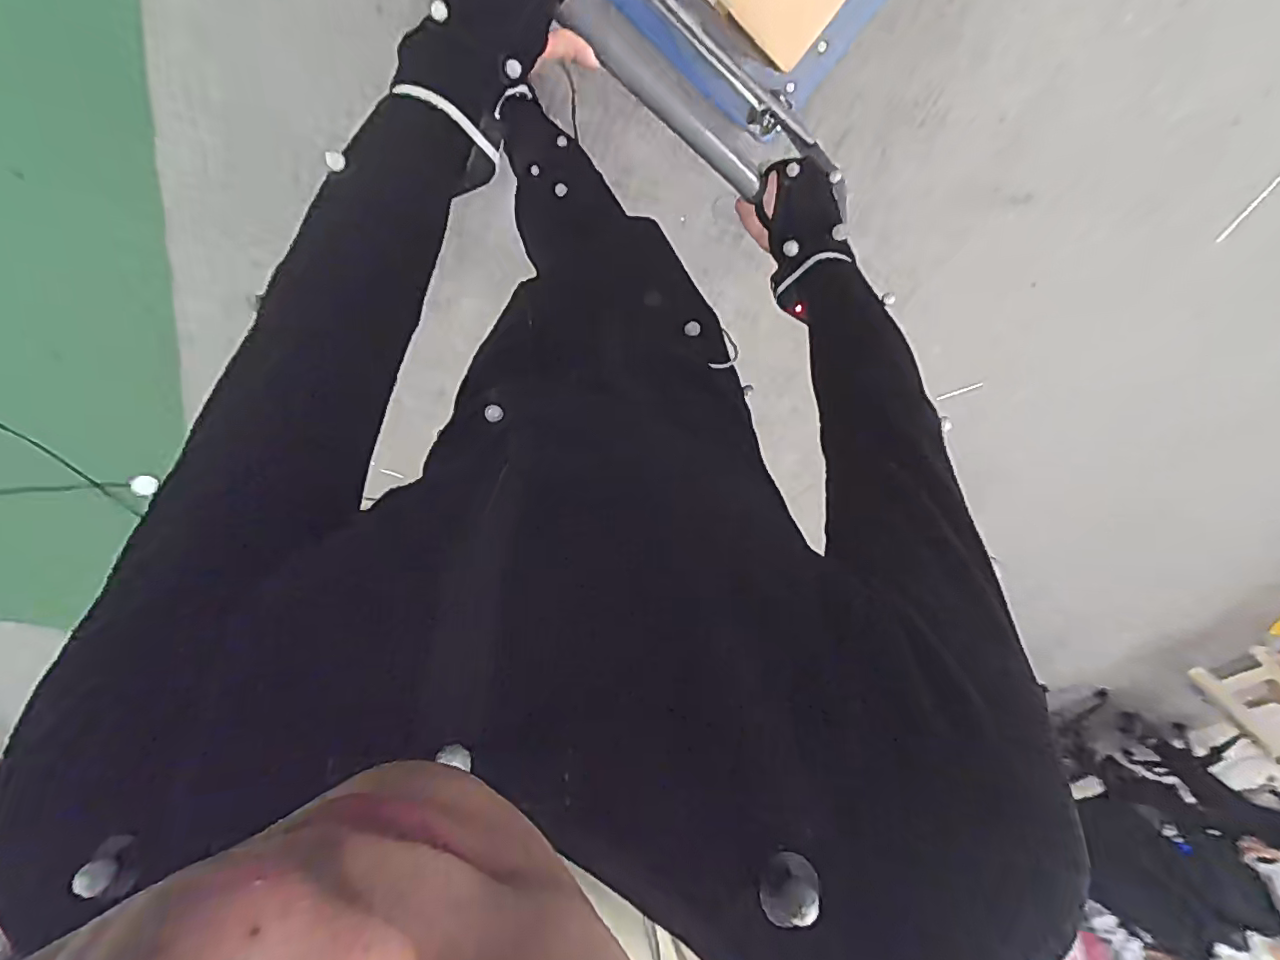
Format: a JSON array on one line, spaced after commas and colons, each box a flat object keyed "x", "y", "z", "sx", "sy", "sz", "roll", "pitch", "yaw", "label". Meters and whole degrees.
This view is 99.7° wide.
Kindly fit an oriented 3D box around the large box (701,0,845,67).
[{"x": 0.219, "y": -0.893, "z": 0.753, "sx": 0.320, "sy": 0.320, "sz": 0.408, "roll": 30, "pitch": 124, "yaw": -24, "label": "large box"}]
